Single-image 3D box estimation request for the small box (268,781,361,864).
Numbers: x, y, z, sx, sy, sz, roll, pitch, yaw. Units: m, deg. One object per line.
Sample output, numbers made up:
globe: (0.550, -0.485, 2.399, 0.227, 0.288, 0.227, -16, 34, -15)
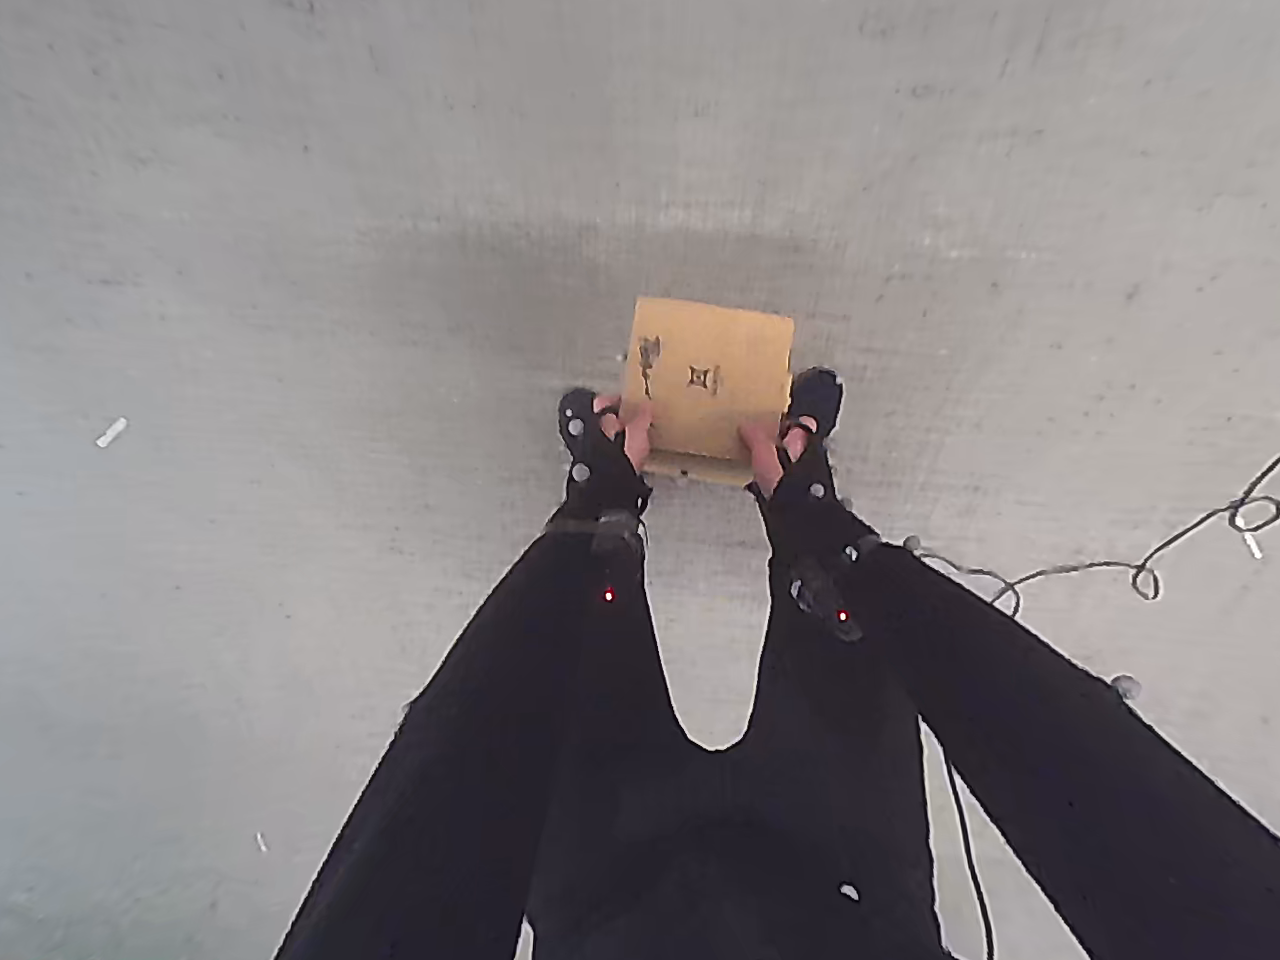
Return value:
small box: (-1.089, 1.151, 1.822, 0.179, 0.176, 0.168, -45, -18, -24)
